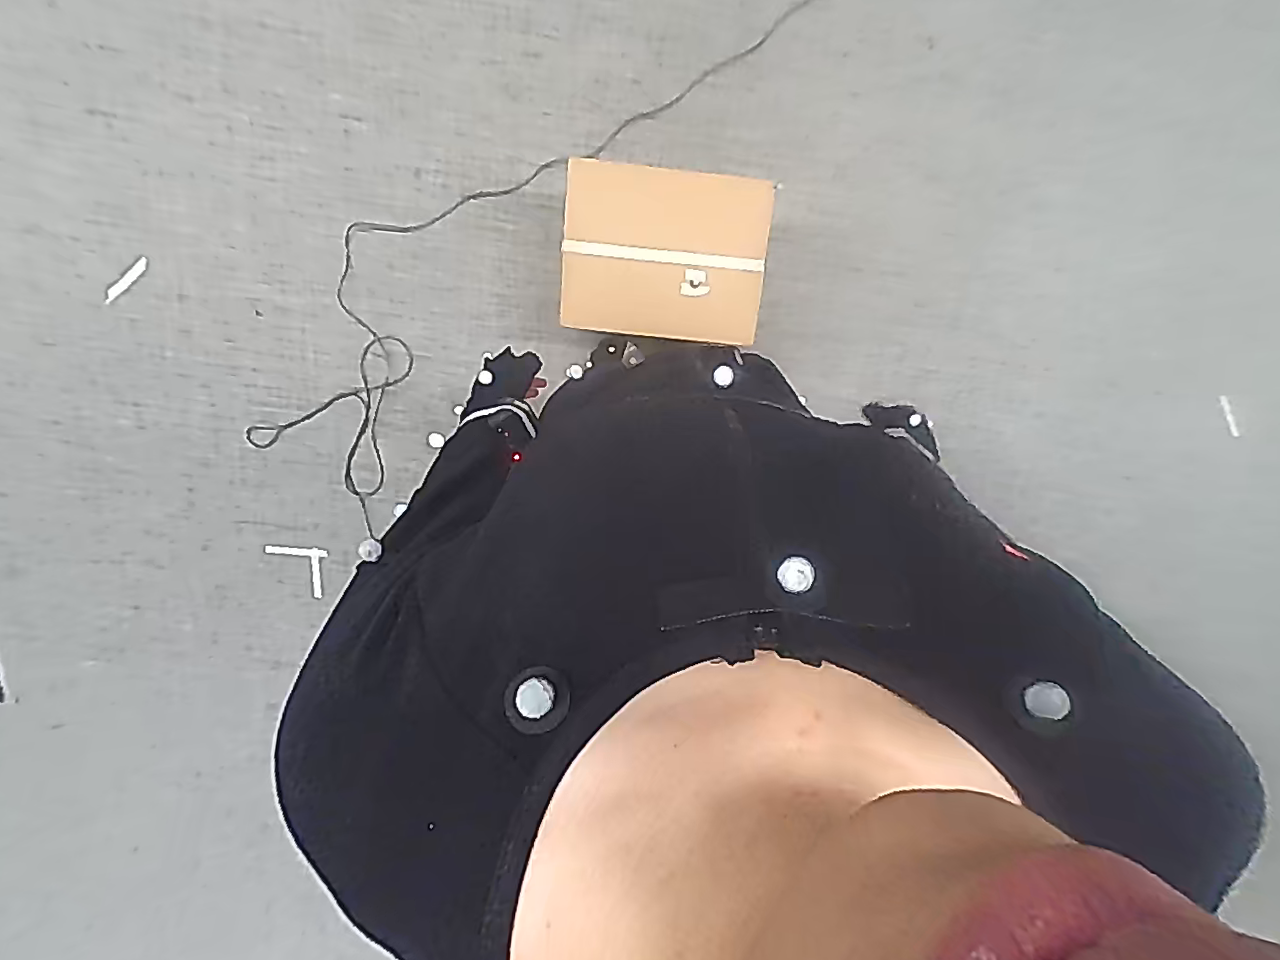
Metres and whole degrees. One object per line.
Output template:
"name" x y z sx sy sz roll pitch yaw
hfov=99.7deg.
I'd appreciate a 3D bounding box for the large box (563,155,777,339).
"large box" 0.047 -0.488 1.205 0.408 0.320 0.320 5 106 -3
